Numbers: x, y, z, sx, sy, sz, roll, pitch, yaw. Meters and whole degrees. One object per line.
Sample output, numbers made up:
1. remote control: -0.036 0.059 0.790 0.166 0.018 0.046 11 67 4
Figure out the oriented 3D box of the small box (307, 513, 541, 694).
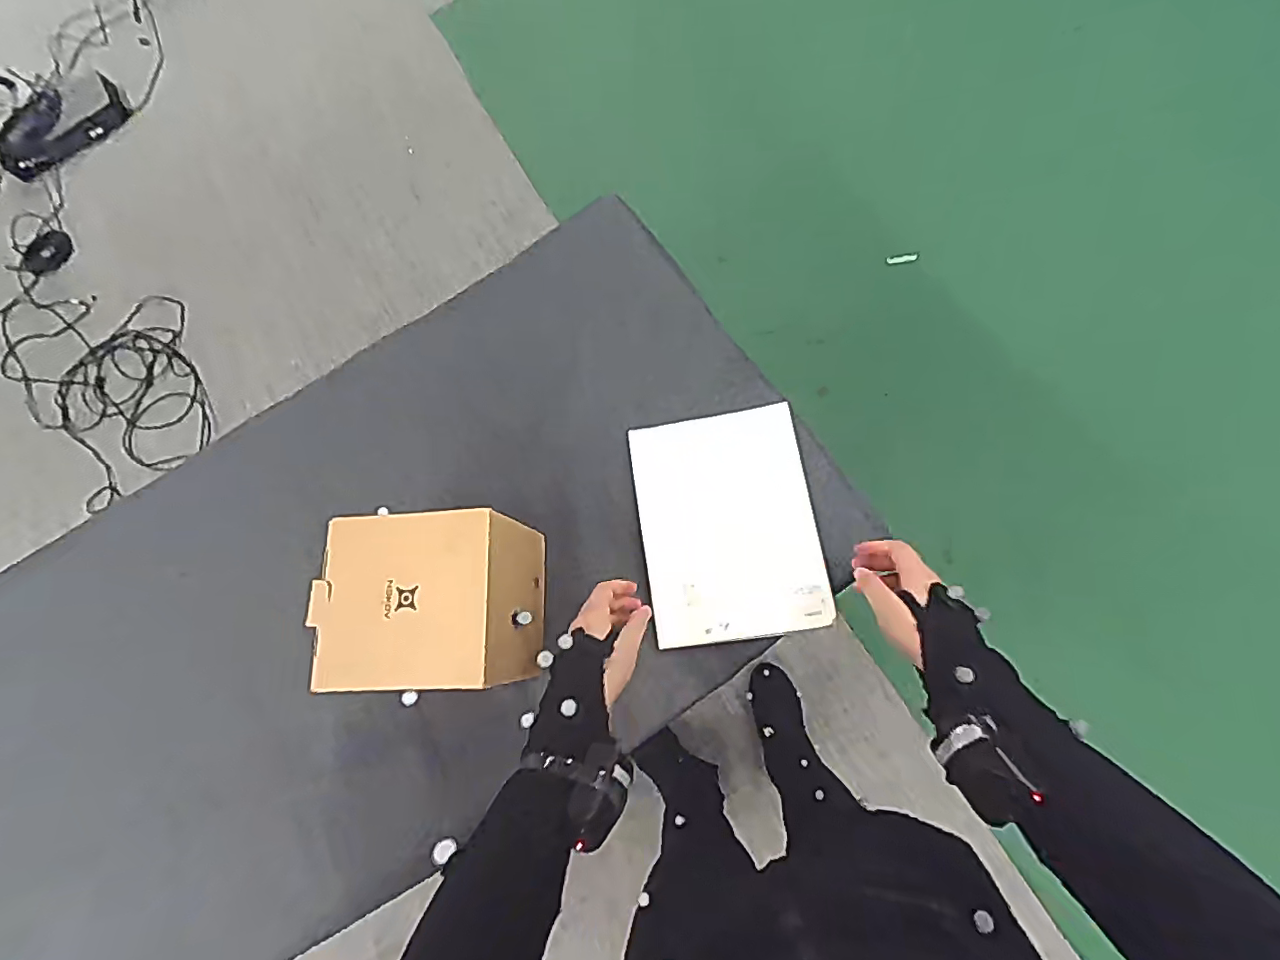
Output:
1. small box: -0.214 0.133 0.584 0.179 0.176 0.168 -5 75 9
